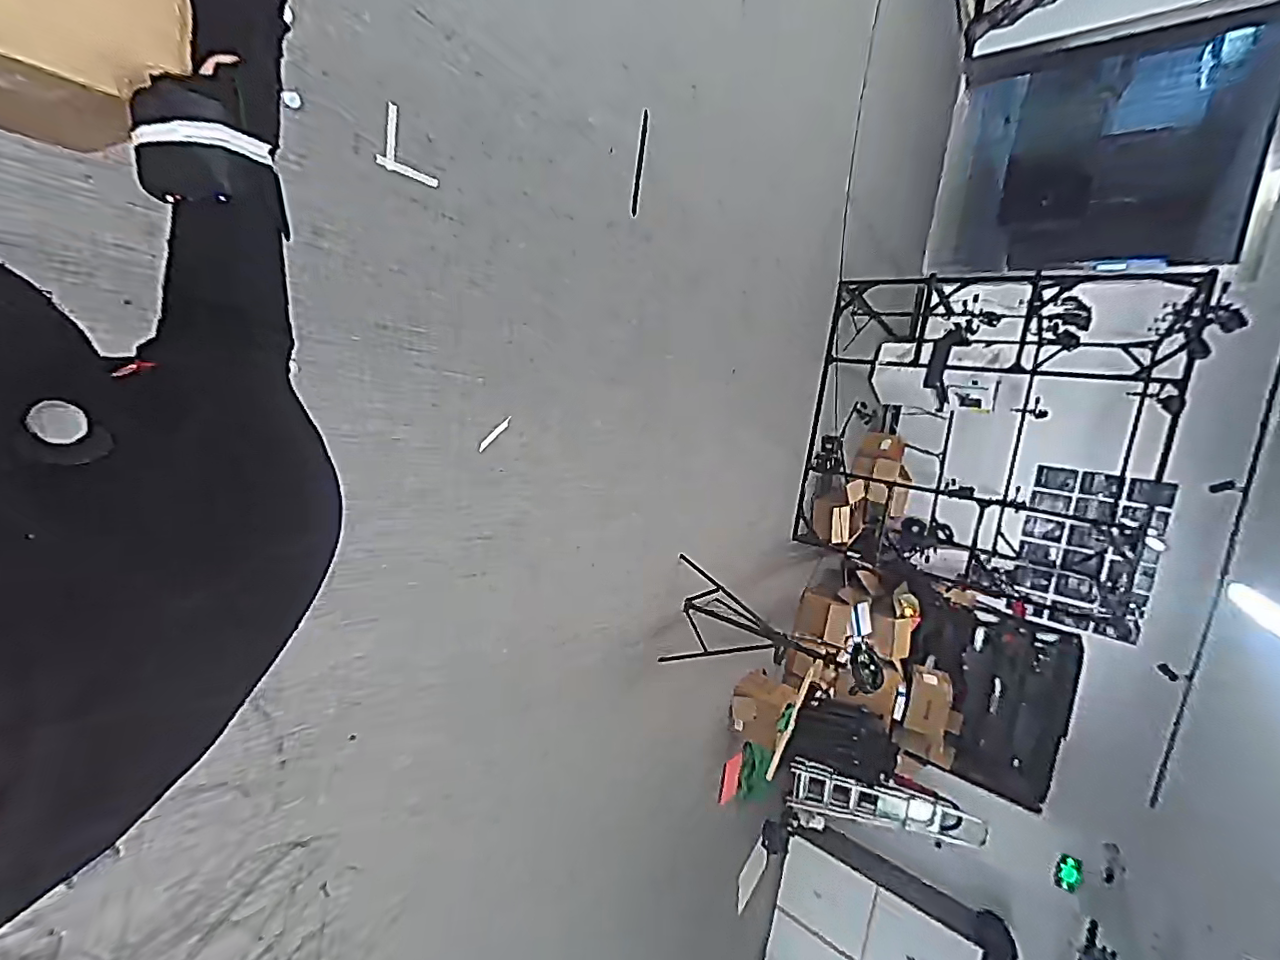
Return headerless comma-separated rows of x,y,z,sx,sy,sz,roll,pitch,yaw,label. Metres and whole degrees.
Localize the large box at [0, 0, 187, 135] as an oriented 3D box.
-0.537,-0.440,0.279,0.408,0.320,0.320,-6,112,-55,large box
